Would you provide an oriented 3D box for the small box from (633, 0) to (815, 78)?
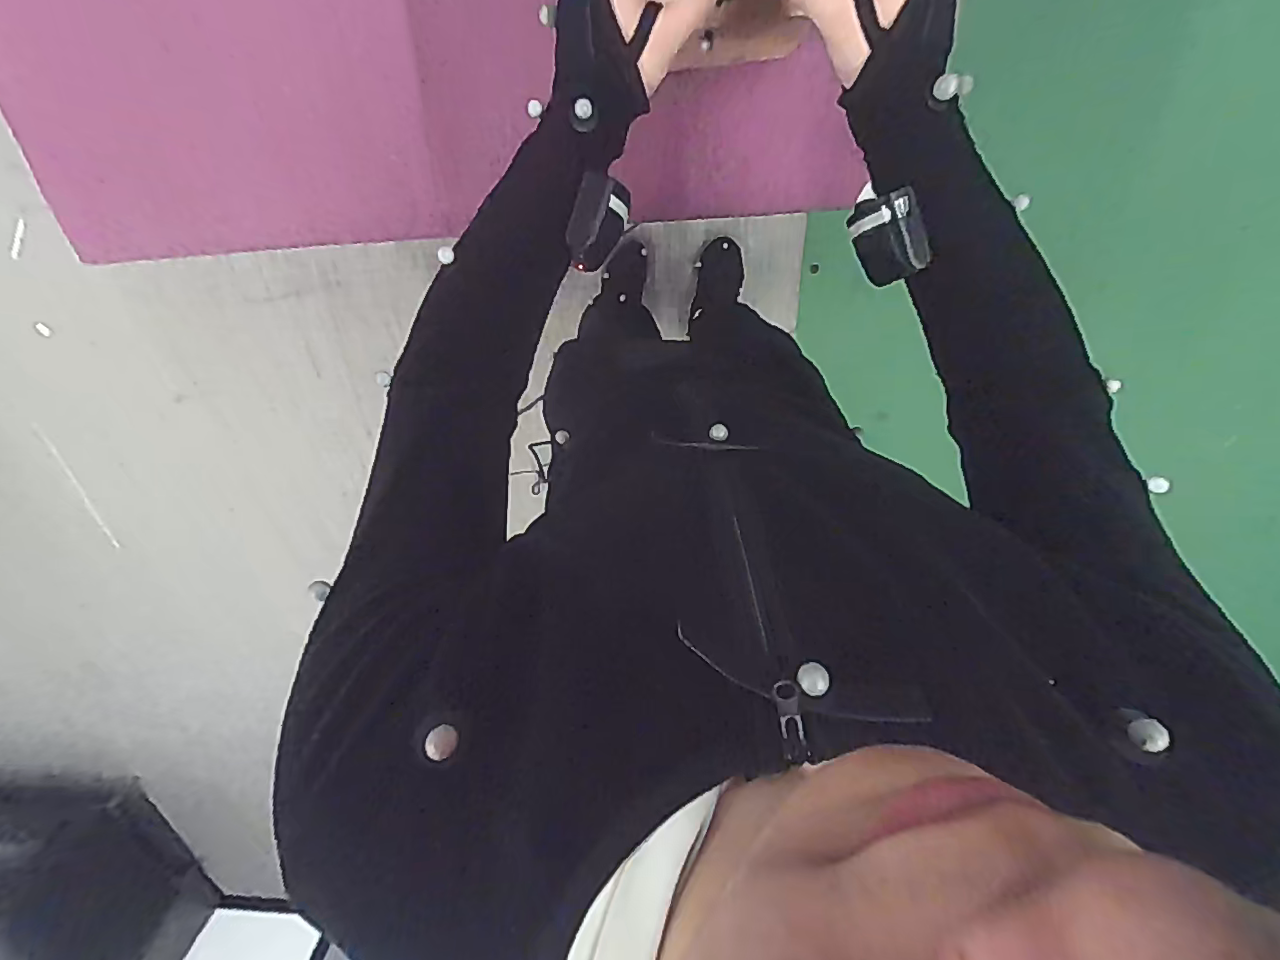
[{"bbox_3d":[0.078,-0.525,0.529,0.168,0.176,0.179,-1,117,8],"label":"small box"}]
